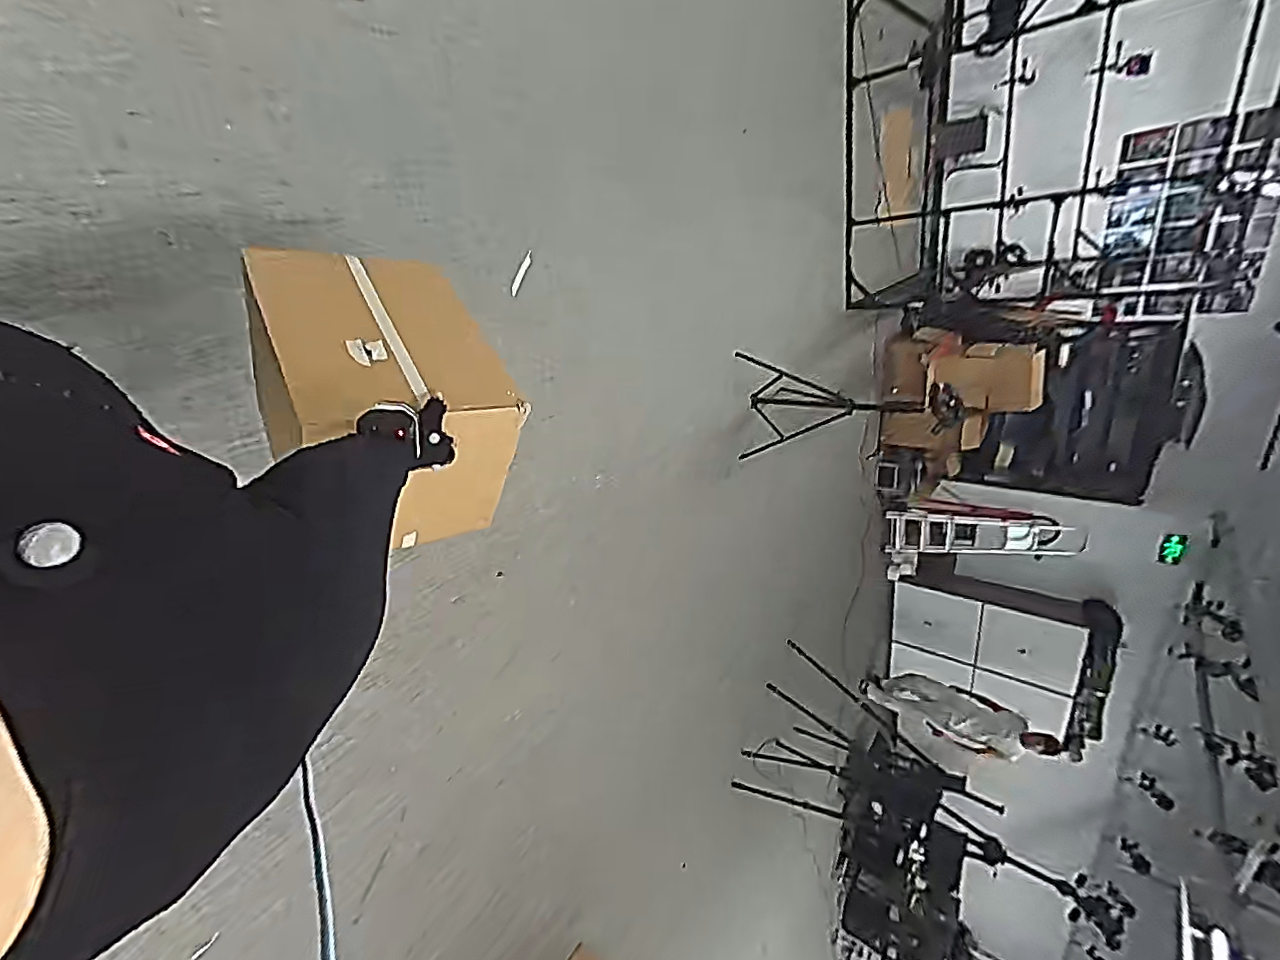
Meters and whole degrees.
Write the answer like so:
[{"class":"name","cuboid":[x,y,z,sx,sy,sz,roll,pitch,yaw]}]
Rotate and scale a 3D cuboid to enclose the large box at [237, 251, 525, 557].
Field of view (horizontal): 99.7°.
[{"class":"large box","cuboid":[-0.462,-0.140,0.948,0.320,0.408,0.320,-15,149,-38]}]
